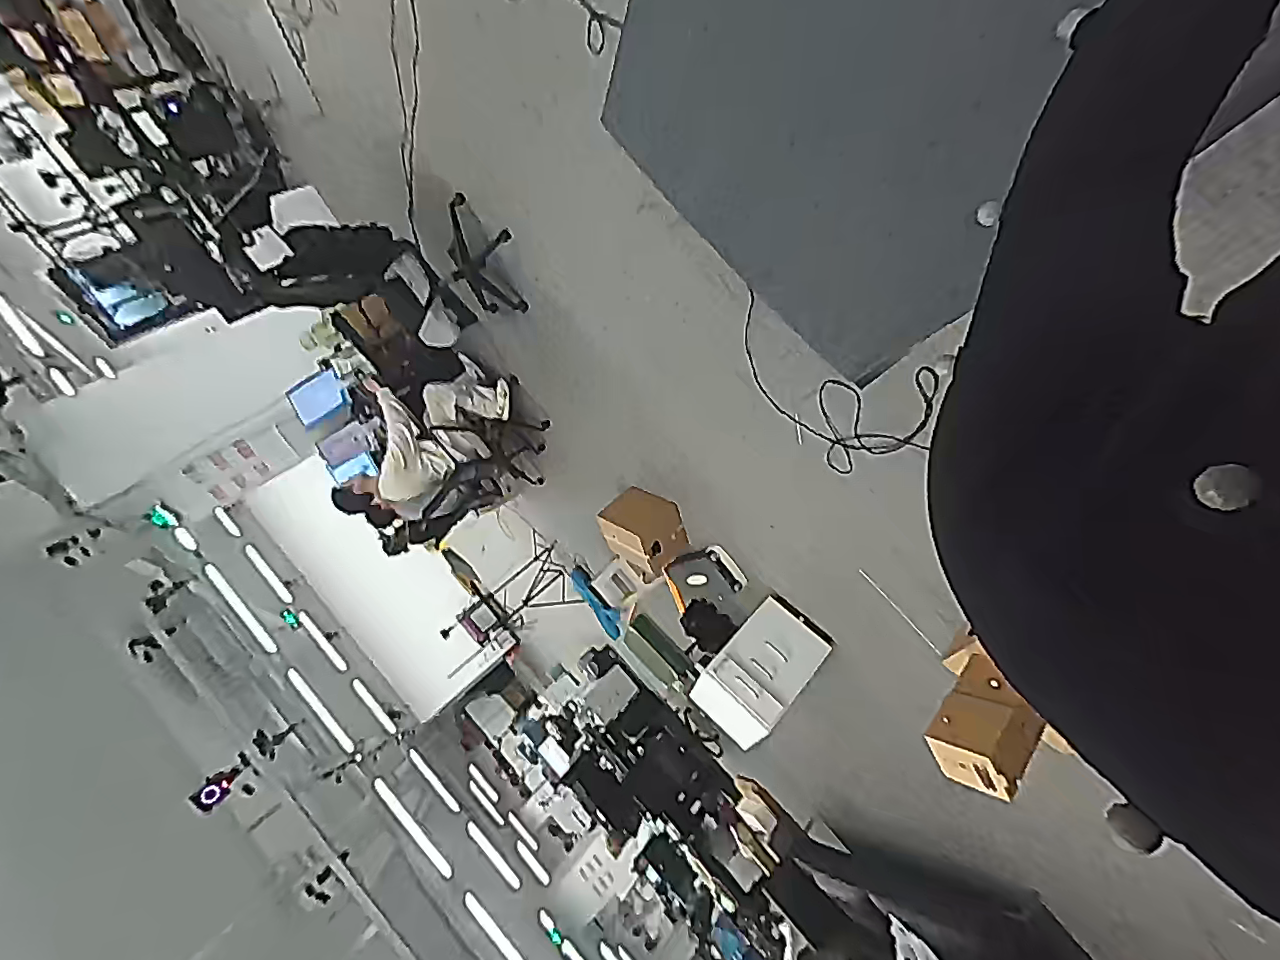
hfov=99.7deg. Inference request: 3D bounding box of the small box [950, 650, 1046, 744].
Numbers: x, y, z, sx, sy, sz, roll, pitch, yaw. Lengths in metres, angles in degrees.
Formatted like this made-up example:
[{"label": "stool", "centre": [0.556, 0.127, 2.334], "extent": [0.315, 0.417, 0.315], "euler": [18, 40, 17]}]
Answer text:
[{"label": "small box", "centre": [1.047, 0.620, 1.572], "extent": [0.179, 0.176, 0.168], "euler": [-8, 118, 57]}]
